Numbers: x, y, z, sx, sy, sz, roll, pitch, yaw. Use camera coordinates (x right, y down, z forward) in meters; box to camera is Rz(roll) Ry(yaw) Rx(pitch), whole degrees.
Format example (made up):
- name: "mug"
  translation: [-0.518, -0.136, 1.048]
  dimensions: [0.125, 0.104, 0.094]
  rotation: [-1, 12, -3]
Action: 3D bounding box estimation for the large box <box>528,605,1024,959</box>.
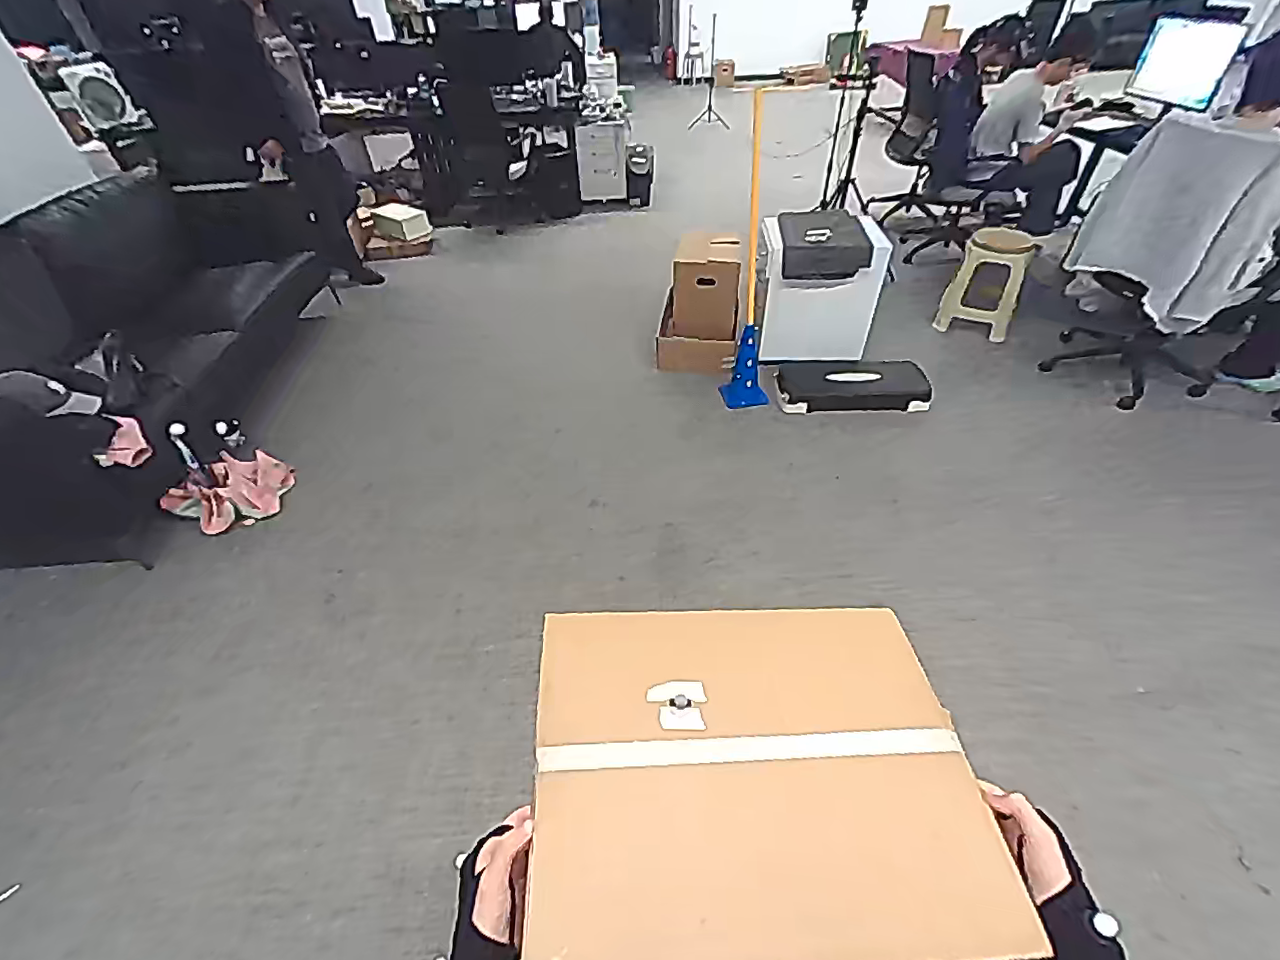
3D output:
- name: "large box"
  translation: [0.098, 0.366, 0.624]
  dimensions: [0.408, 0.320, 0.320]
  rotation: [-1, 43, -5]
